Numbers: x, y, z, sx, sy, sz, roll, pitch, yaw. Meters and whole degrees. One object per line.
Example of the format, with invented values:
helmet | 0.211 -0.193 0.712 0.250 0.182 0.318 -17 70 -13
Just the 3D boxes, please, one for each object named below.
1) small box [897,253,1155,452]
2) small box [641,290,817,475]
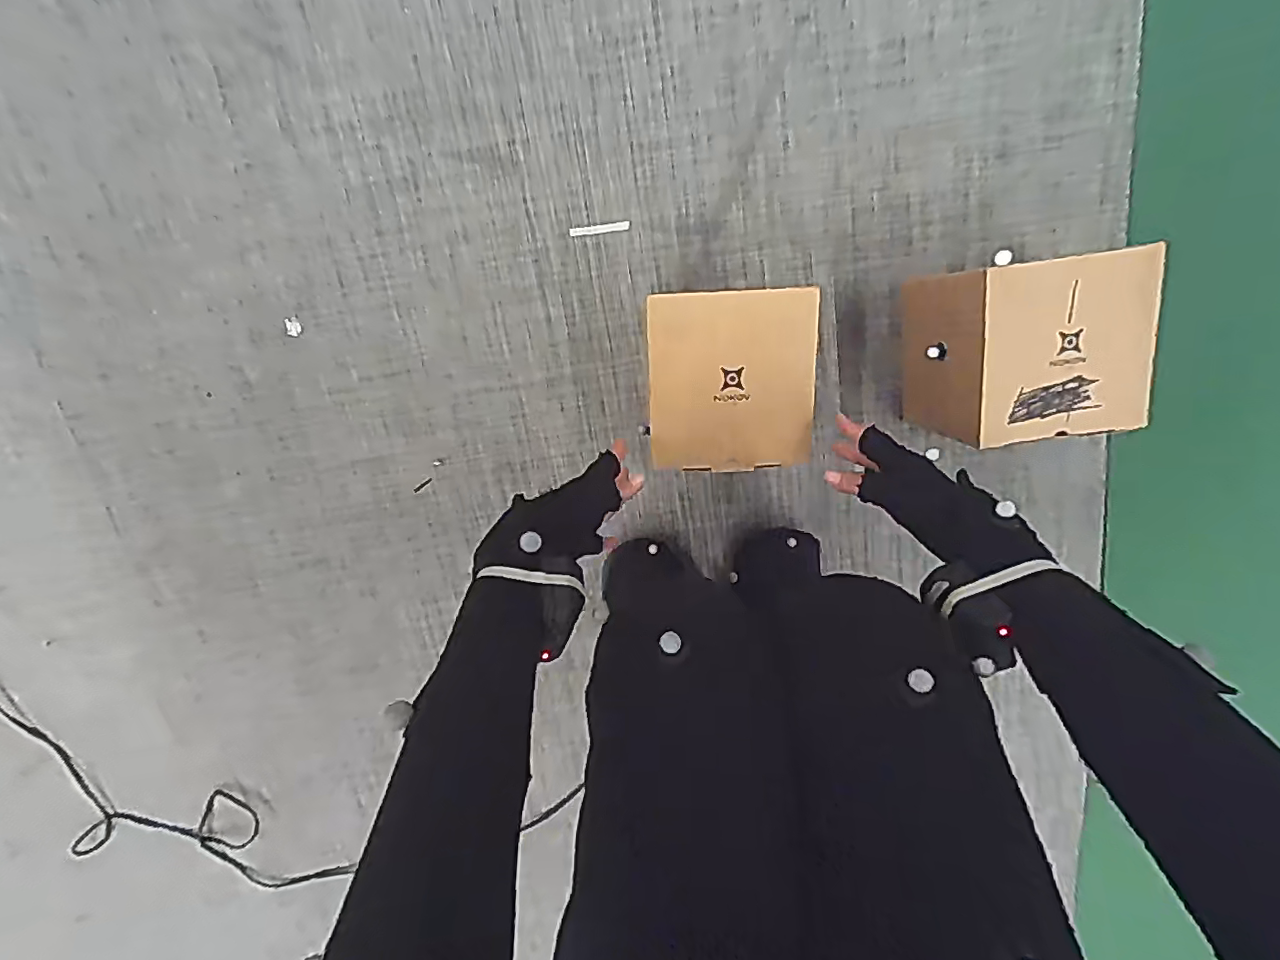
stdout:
small box | 0.406 -0.142 0.603 0.168 0.176 0.179 -7 105 2
small box | 0.088 -0.113 0.609 0.168 0.176 0.179 -3 107 0
